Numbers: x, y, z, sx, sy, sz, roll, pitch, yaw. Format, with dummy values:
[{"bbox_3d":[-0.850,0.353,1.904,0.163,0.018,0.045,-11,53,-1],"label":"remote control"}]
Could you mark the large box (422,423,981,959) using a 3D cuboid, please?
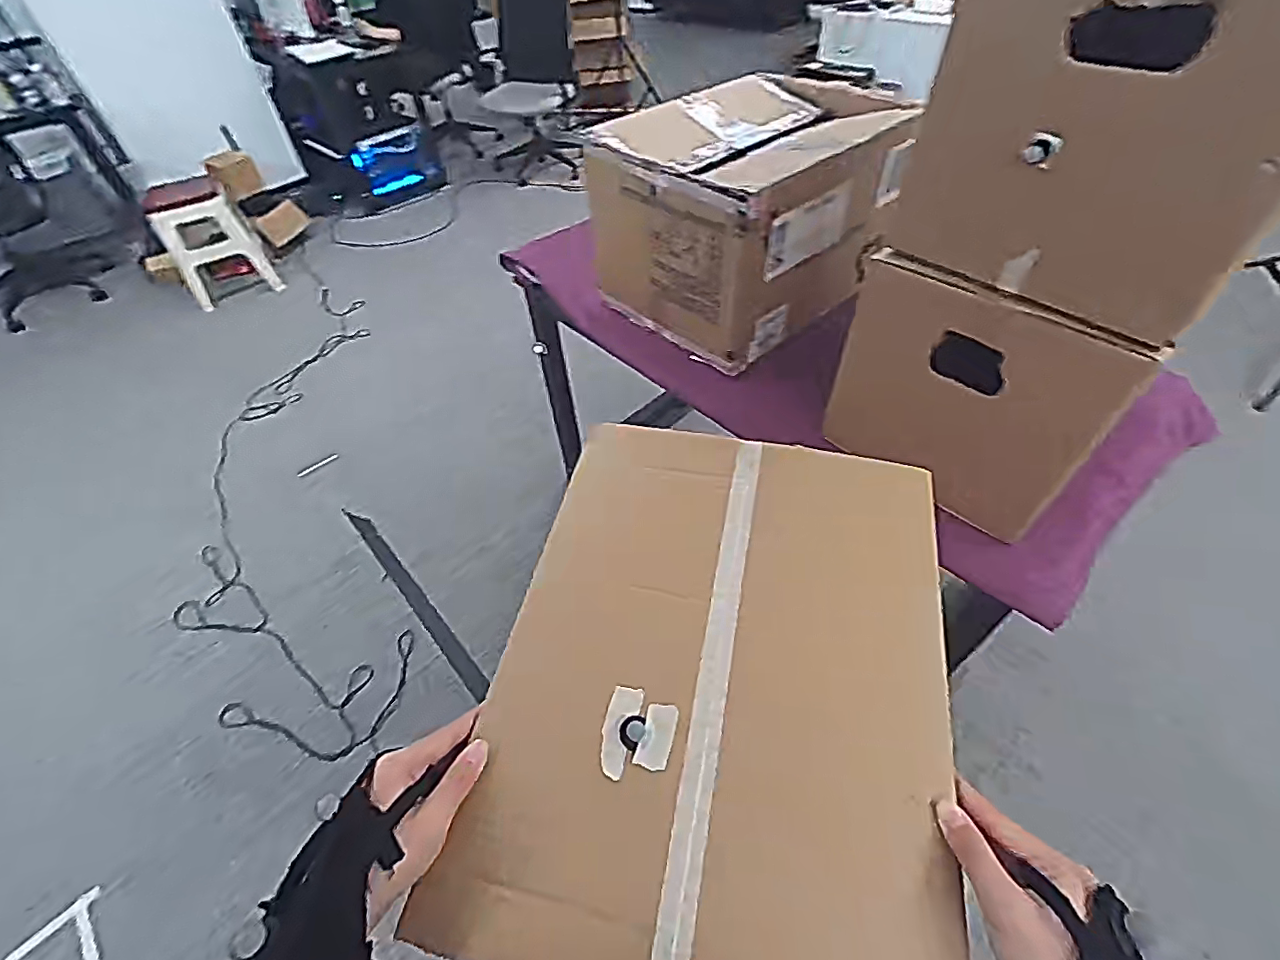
[{"bbox_3d":[0.068,0.207,0.514,0.320,0.320,0.408,8,55,10],"label":"large box"}]
